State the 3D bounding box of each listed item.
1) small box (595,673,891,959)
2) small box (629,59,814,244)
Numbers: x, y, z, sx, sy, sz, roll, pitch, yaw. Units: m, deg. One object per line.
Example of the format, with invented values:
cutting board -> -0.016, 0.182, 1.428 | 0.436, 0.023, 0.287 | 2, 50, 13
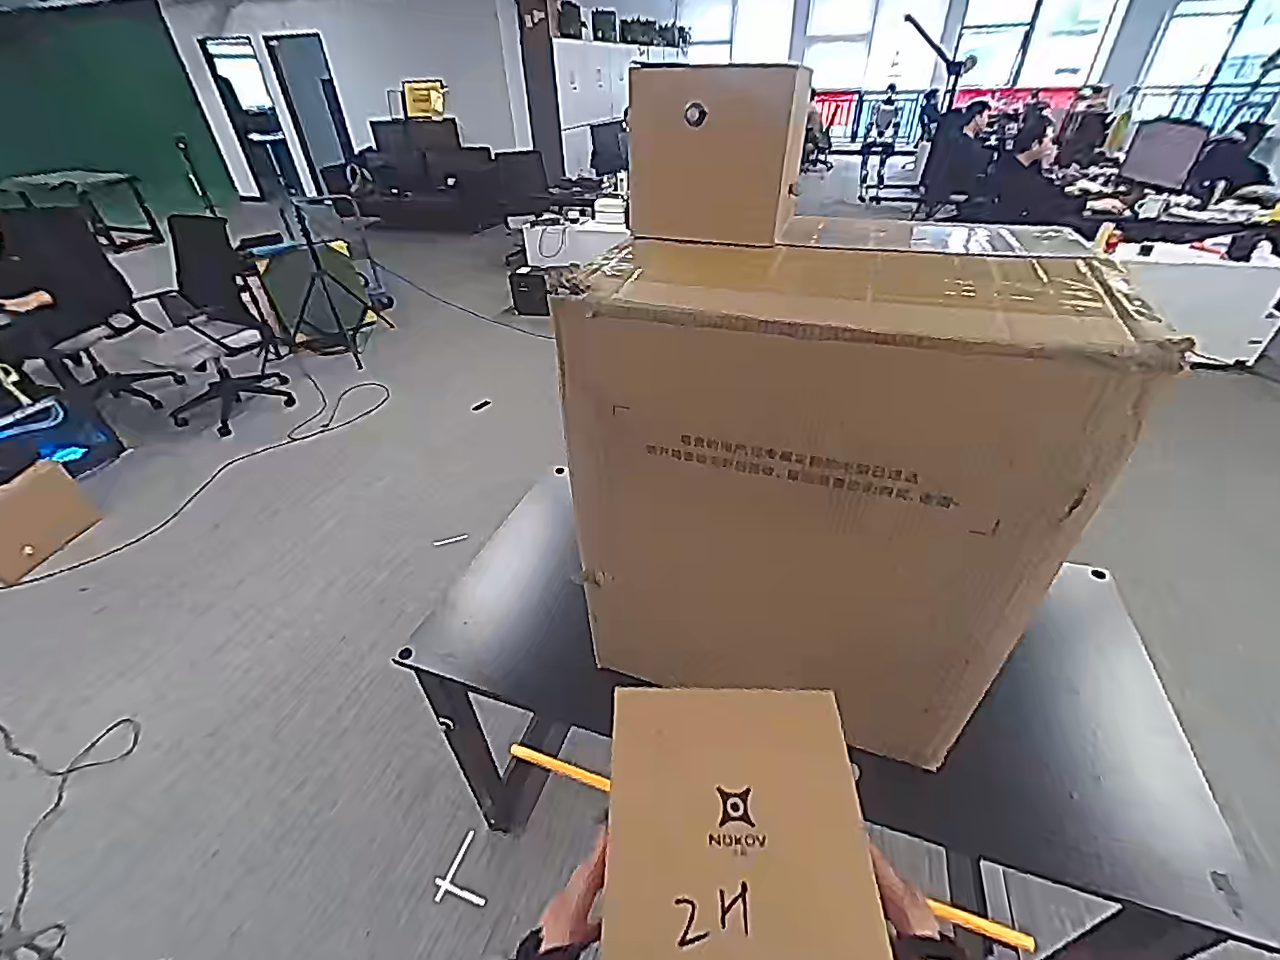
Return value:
small box -> 0.061, 0.265, 0.405 | 0.168, 0.176, 0.179 | 0, 47, 3
small box -> 0.096, -0.388, 0.645 | 0.179, 0.176, 0.168 | 12, 37, 16
